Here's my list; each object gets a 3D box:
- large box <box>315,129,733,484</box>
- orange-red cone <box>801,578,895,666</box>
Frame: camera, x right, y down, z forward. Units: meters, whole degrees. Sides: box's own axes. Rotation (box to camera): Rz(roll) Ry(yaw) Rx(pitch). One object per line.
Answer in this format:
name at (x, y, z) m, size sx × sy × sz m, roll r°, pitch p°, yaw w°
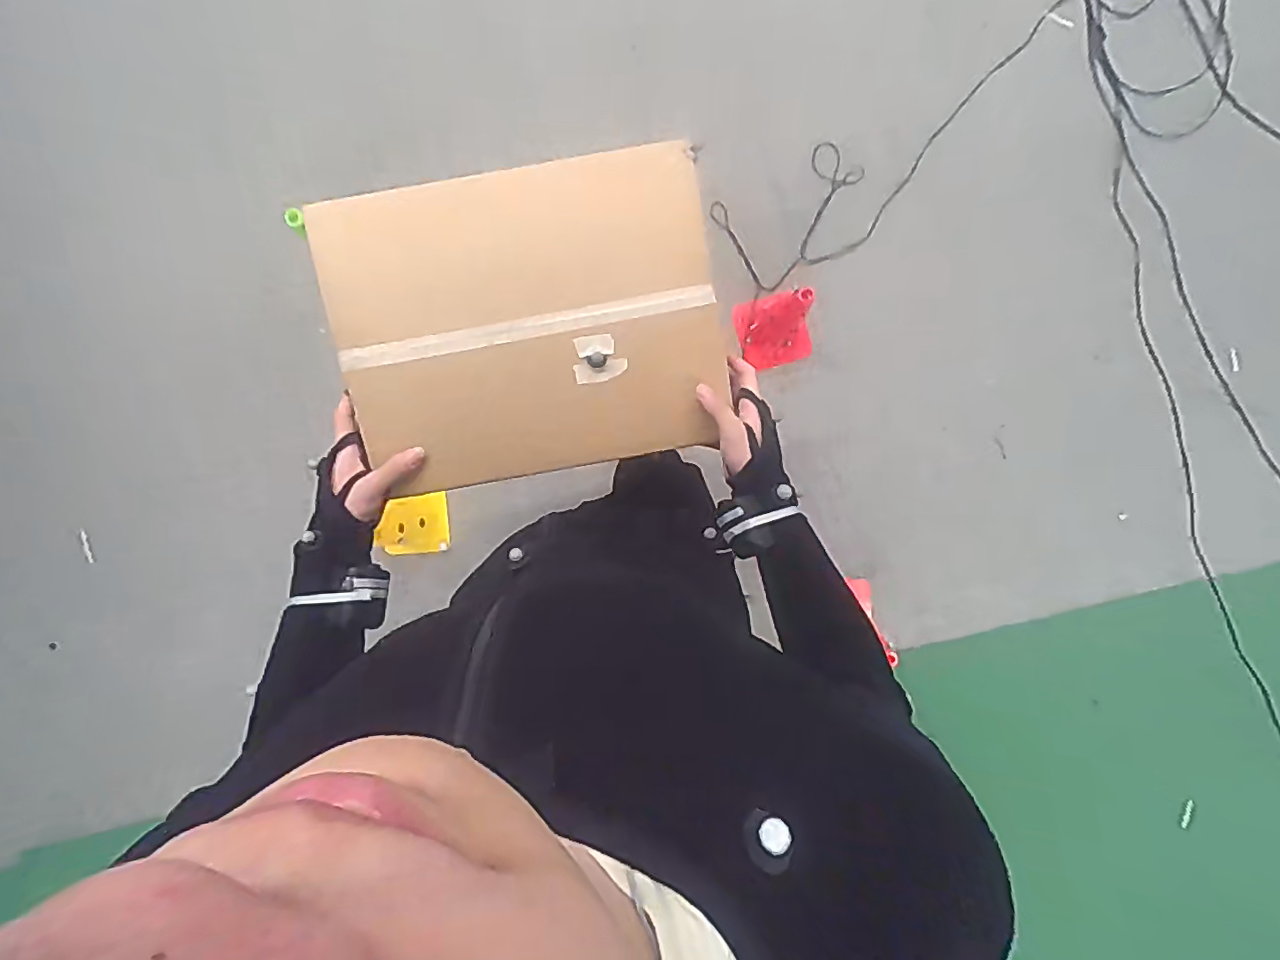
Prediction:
large box at (-0.123, -0.203, 0.729) m, size 0.408 × 0.320 × 0.320 m, roll -11°, pitch 100°, yaw -1°
orange-red cone at (0.584, 0.405, 1.443) m, size 0.199 × 0.360 × 0.198 m, roll -6°, pitch 94°, yaw 0°
